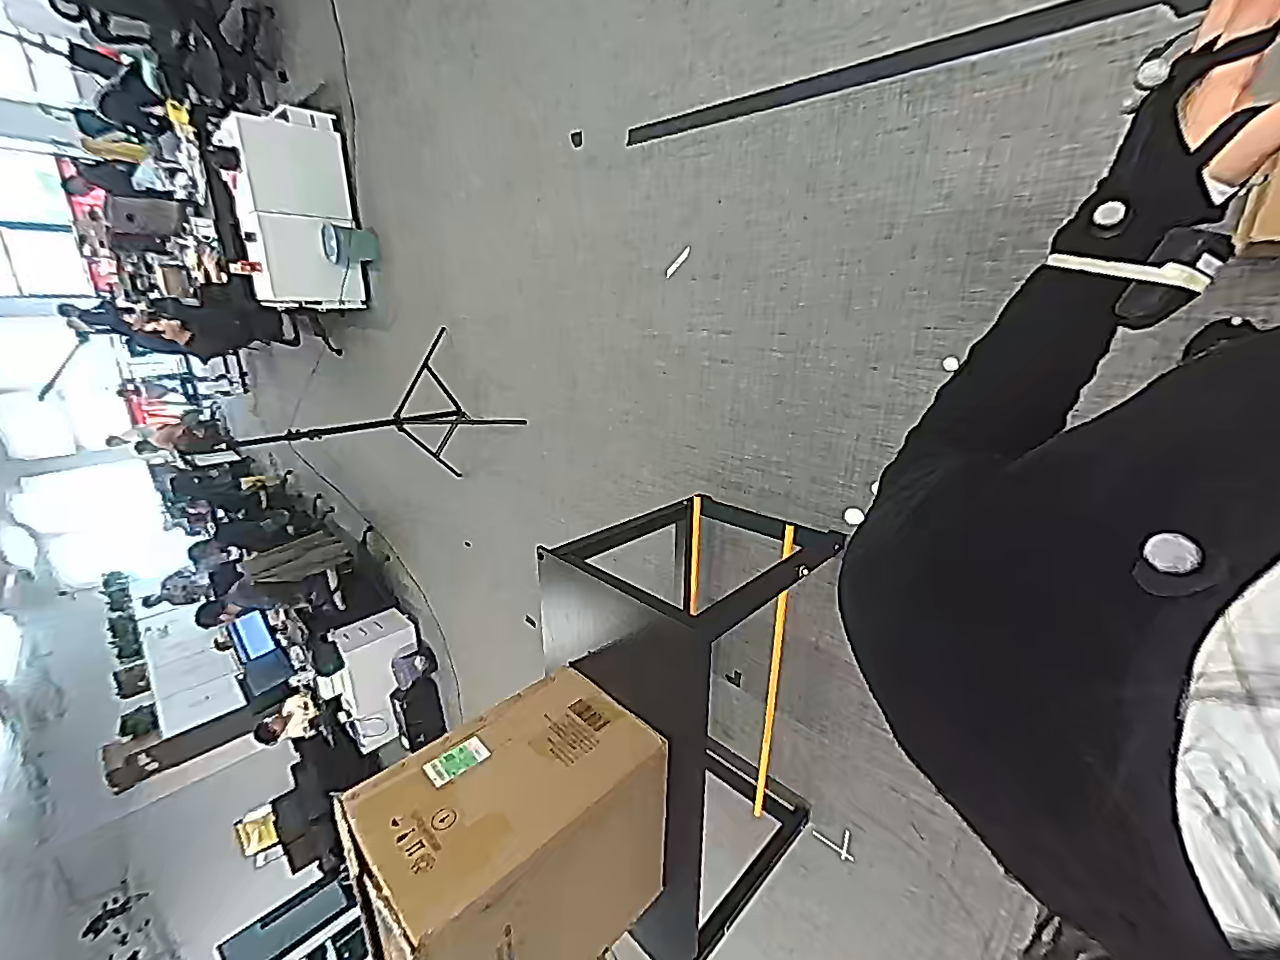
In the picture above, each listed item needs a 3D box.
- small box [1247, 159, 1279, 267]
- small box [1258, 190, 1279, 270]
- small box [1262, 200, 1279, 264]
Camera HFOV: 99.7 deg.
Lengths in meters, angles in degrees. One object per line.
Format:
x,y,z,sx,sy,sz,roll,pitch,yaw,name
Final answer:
1.033,-0.409,0.790,0.168,0.176,0.179,18,117,43,small box
0.923,-0.361,0.677,0.168,0.176,0.179,19,117,42,small box
0.807,-0.322,0.568,0.168,0.176,0.179,19,117,42,small box
